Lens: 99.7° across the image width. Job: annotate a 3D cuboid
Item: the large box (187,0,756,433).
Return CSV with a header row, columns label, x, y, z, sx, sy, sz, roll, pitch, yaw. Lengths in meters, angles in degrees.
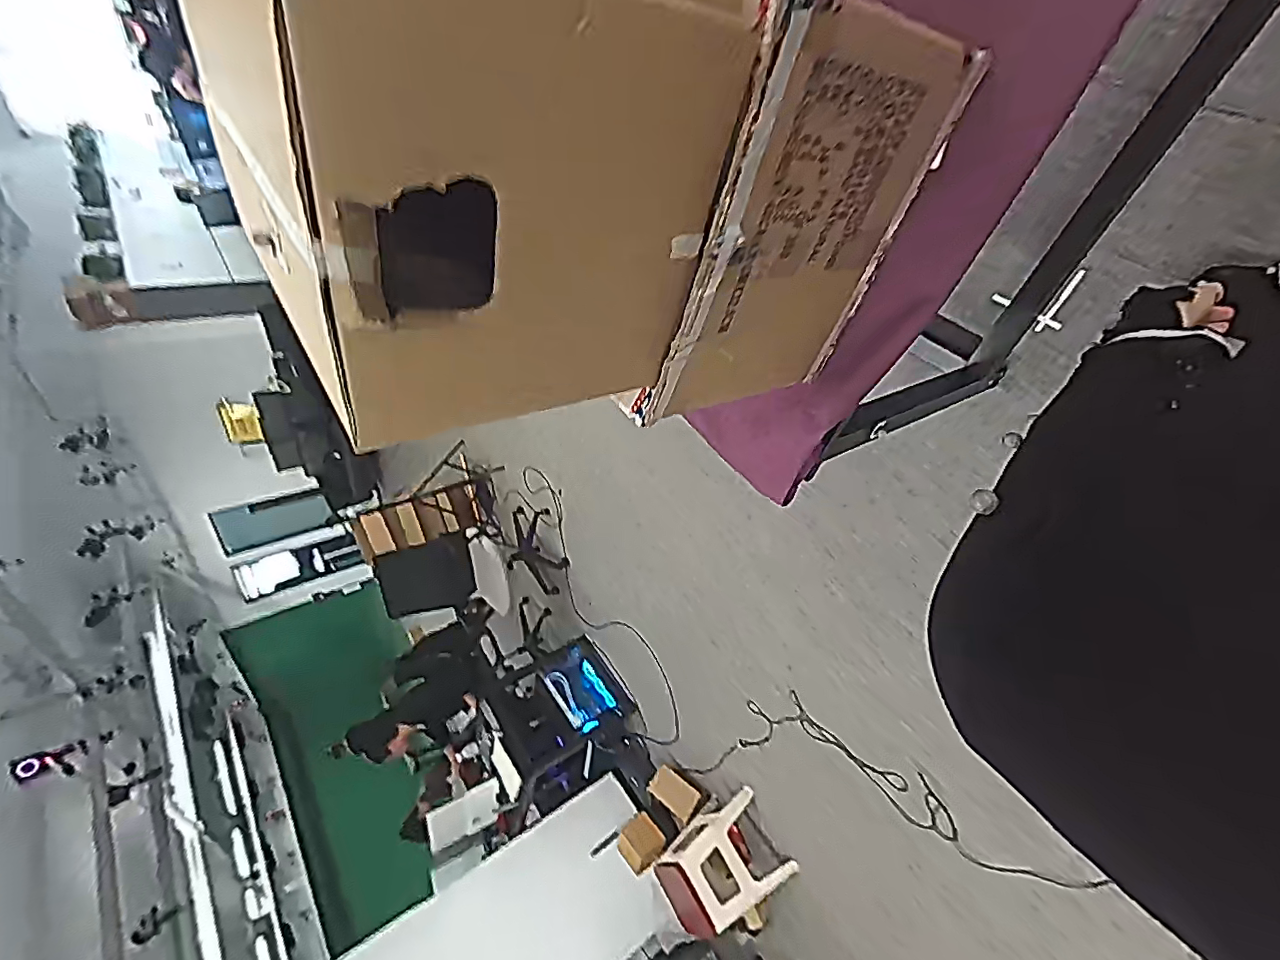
label,x,y,z,sx,sy,sz,roll,pitch,yaw
large box,-0.176,-0.307,0.498,0.408,0.320,0.320,47,141,31
